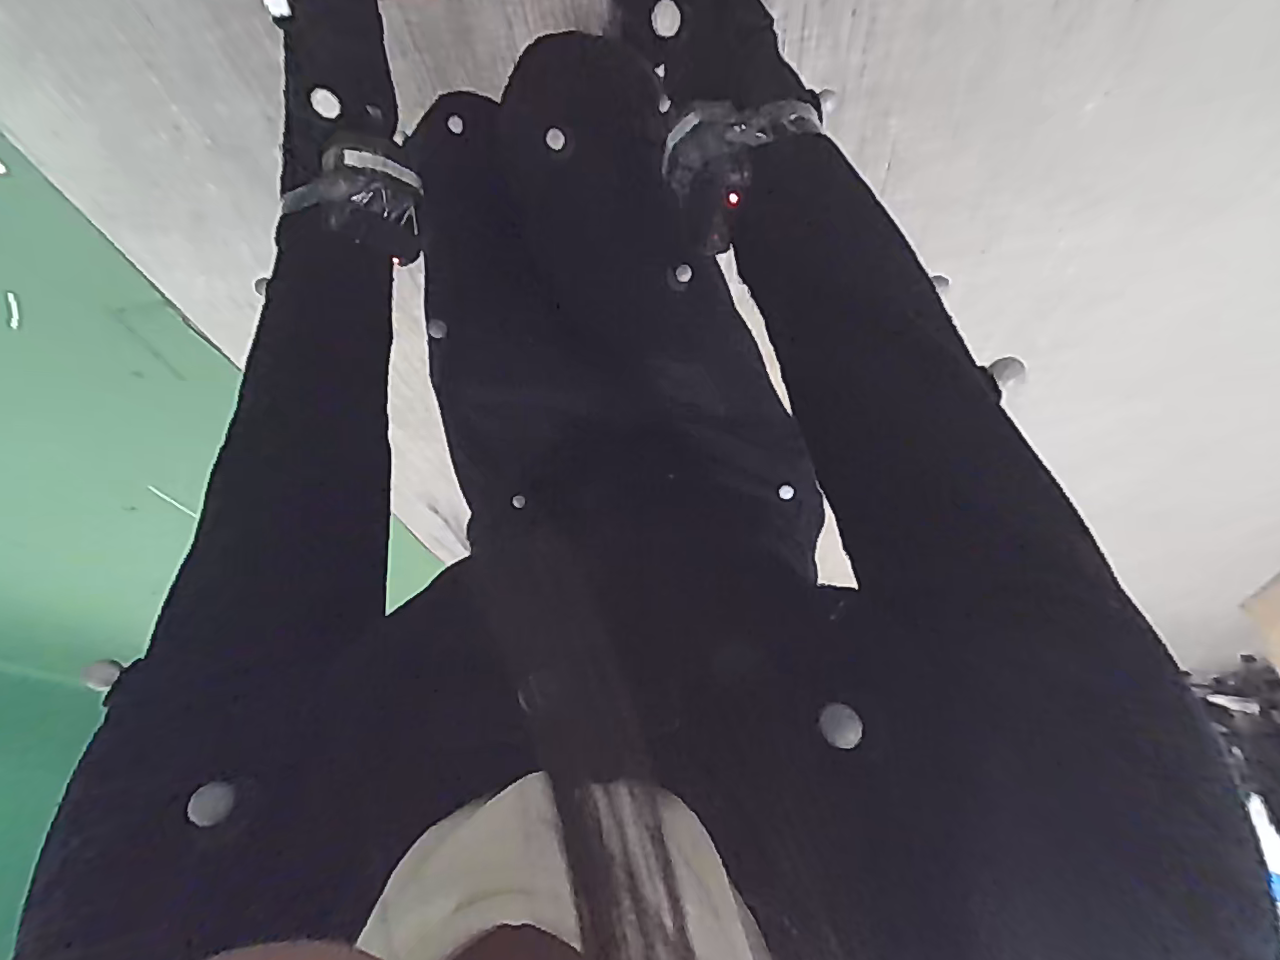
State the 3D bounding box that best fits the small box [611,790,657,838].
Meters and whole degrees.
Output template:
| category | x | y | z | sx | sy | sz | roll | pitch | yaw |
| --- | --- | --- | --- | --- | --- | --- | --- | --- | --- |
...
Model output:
| category | x | y | z | sx | sy | sz | roll | pitch | yaw |
| --- | --- | --- | --- | --- | --- | --- | --- | --- | --- |
| small box | -0.021 | 1.441 | 2.332 | 0.179 | 0.176 | 0.168 | -6 | 148 | 8 |
